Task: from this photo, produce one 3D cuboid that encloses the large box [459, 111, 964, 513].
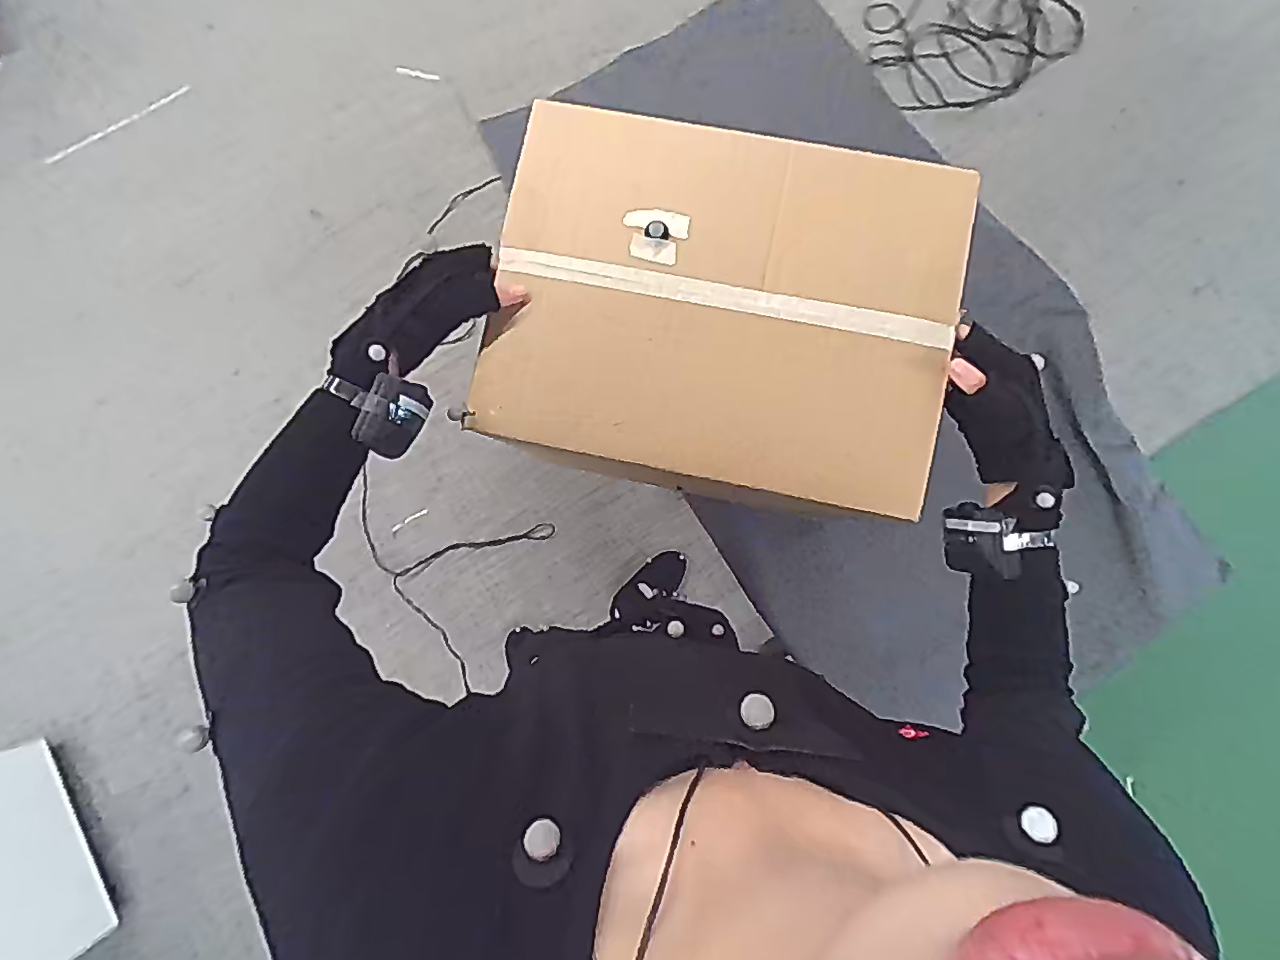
[{"bbox_3d":[0.071,-0.147,0.620,0.408,0.320,0.320,11,87,5],"label":"large box"}]
